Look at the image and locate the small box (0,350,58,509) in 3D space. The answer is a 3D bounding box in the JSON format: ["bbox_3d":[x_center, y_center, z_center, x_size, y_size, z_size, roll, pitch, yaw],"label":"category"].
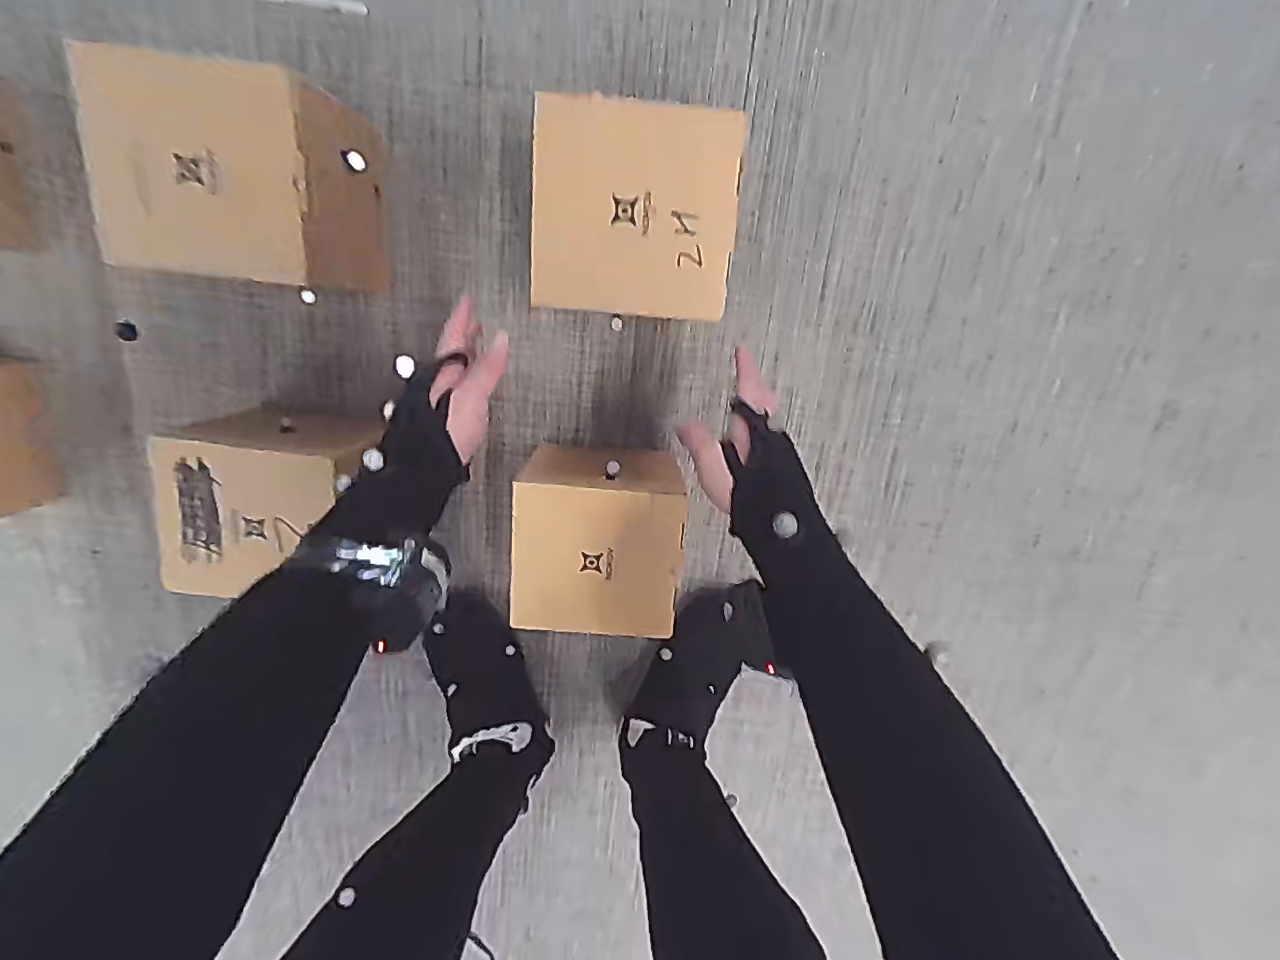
[{"bbox_3d":[-0.792,-0.051,0.578,0.168,0.176,0.179,7,105,-3],"label":"small box"}]

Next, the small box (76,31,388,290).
[{"bbox_3d":[-0.359,-0.281,0.519,0.179,0.176,0.168,6,105,-2],"label":"small box"}]

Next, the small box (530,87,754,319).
[{"bbox_3d":[-0.003,-0.251,0.531,0.179,0.176,0.168,5,107,-3],"label":"small box"}]

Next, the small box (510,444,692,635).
[{"bbox_3d":[-0.044,0.058,0.626,0.179,0.176,0.168,5,106,-3],"label":"small box"}]
